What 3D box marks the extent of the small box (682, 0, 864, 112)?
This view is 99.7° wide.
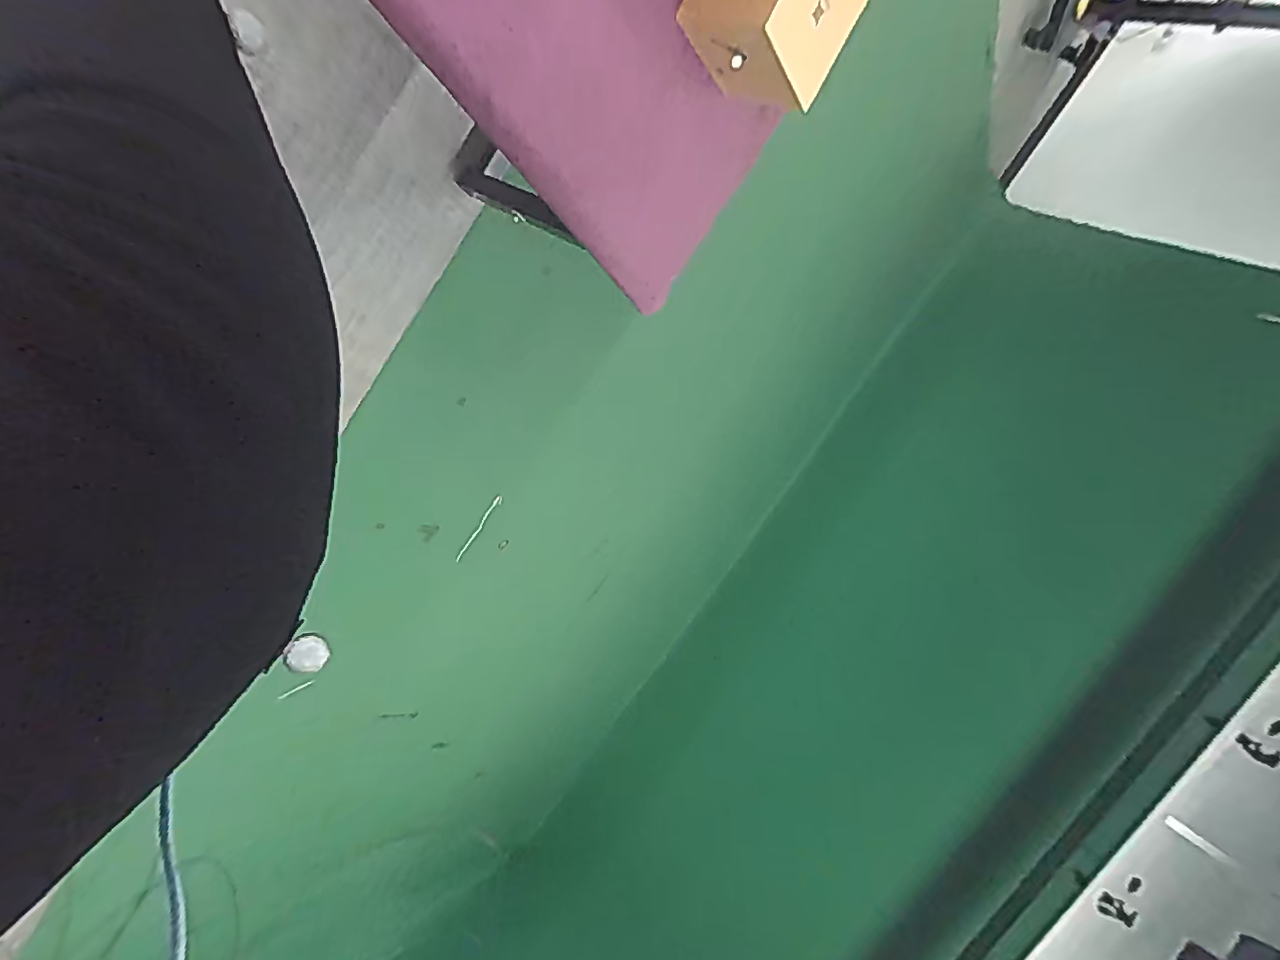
[{"bbox_3d":[0.184,-0.677,0.775,0.168,0.176,0.179,11,111,-55],"label":"small box"}]
